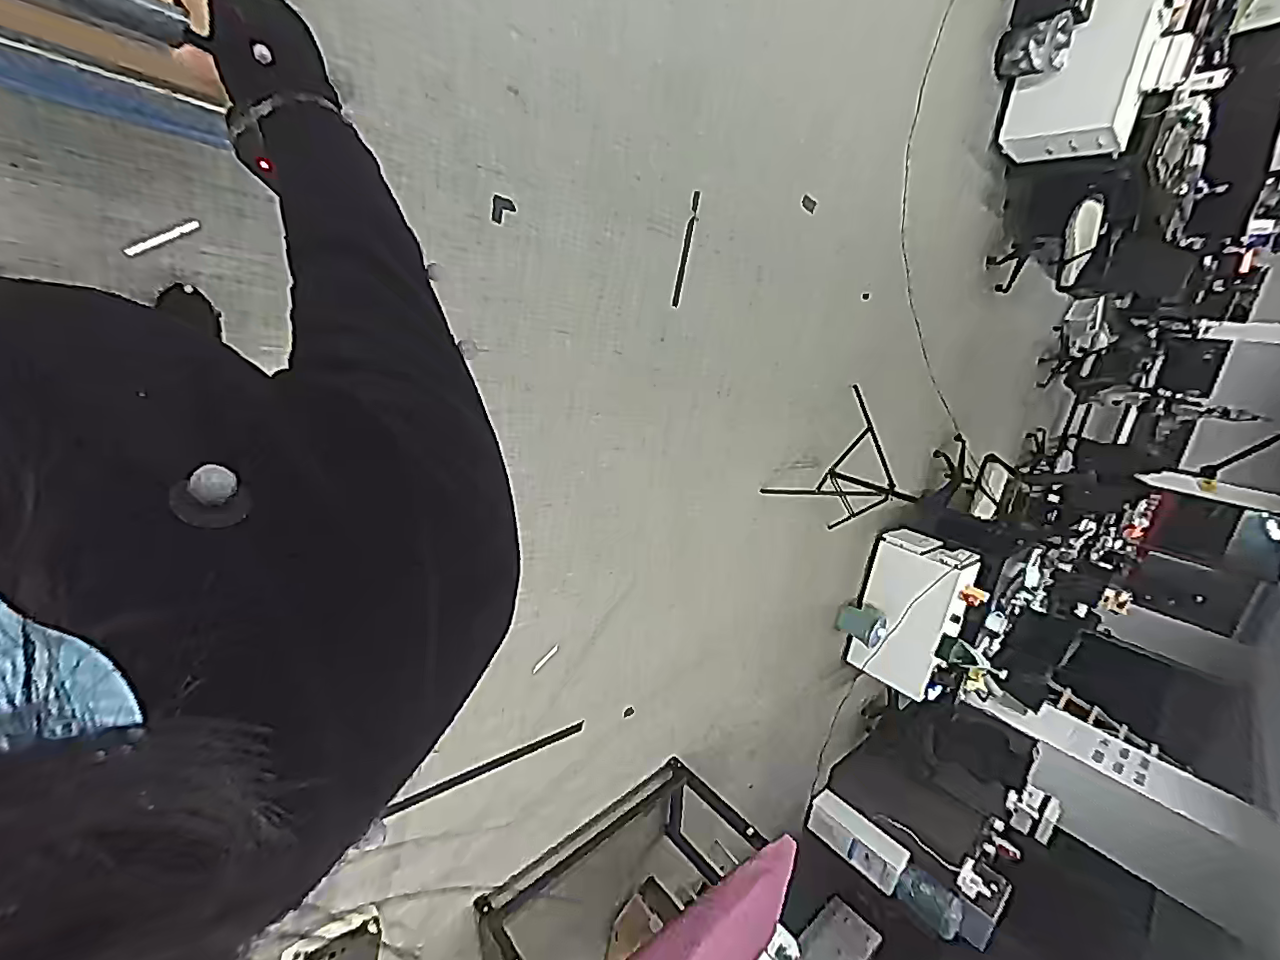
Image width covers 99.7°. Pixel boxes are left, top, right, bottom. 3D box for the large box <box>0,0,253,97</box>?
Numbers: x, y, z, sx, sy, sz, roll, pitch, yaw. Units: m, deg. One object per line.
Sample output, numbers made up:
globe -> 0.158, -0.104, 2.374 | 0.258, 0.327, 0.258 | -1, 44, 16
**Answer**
large box -> -0.763, -0.758, 0.680 | 0.408, 0.320, 0.320 | -5, 112, -43
